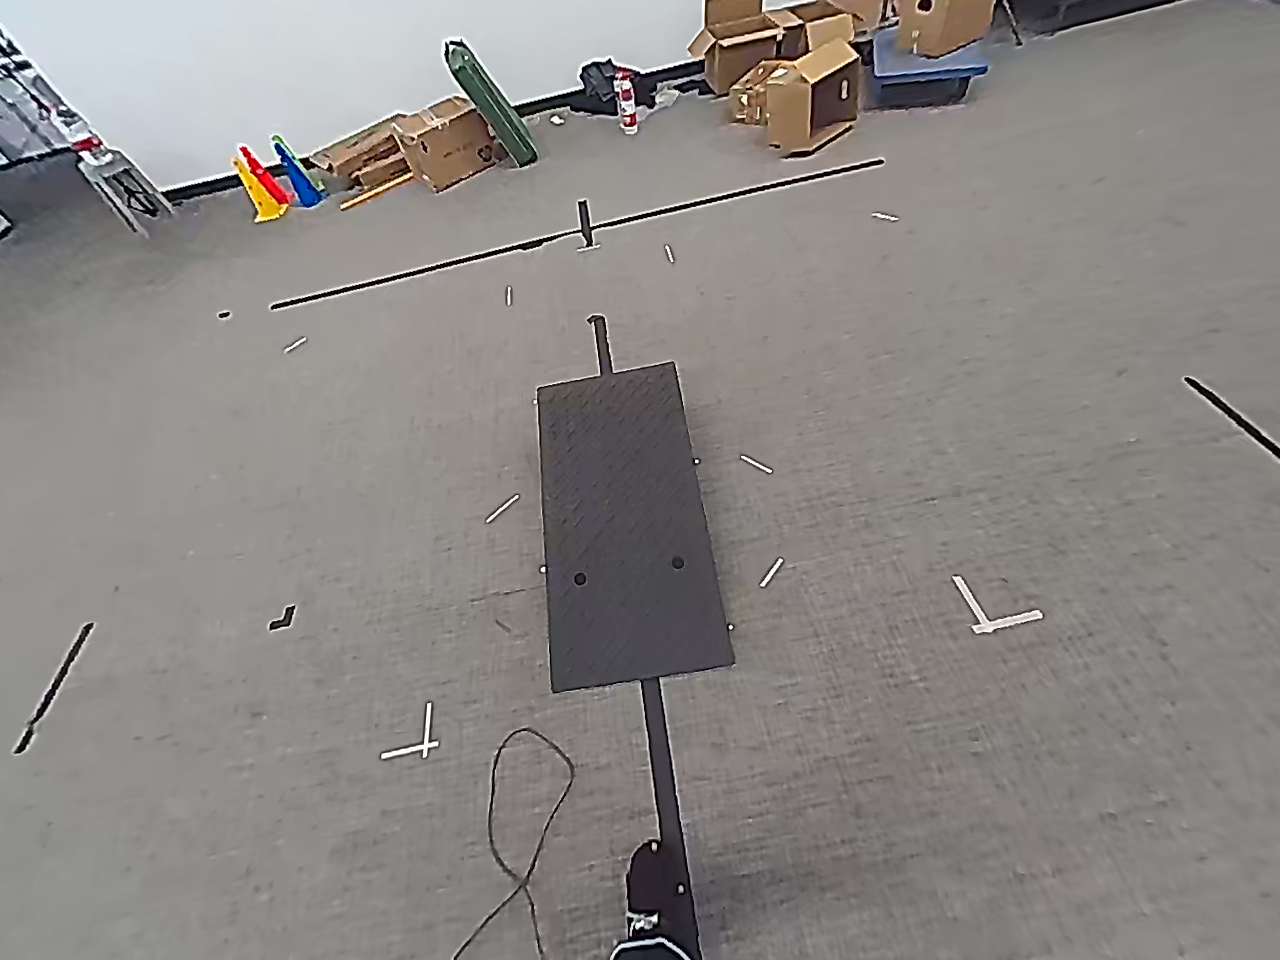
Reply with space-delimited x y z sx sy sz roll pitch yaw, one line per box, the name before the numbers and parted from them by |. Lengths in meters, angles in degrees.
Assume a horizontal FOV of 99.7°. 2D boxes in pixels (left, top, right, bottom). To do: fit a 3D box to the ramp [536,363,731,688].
ramp | -0.058 0.078 1.649 0.509 0.206 0.991 -11 52 2
